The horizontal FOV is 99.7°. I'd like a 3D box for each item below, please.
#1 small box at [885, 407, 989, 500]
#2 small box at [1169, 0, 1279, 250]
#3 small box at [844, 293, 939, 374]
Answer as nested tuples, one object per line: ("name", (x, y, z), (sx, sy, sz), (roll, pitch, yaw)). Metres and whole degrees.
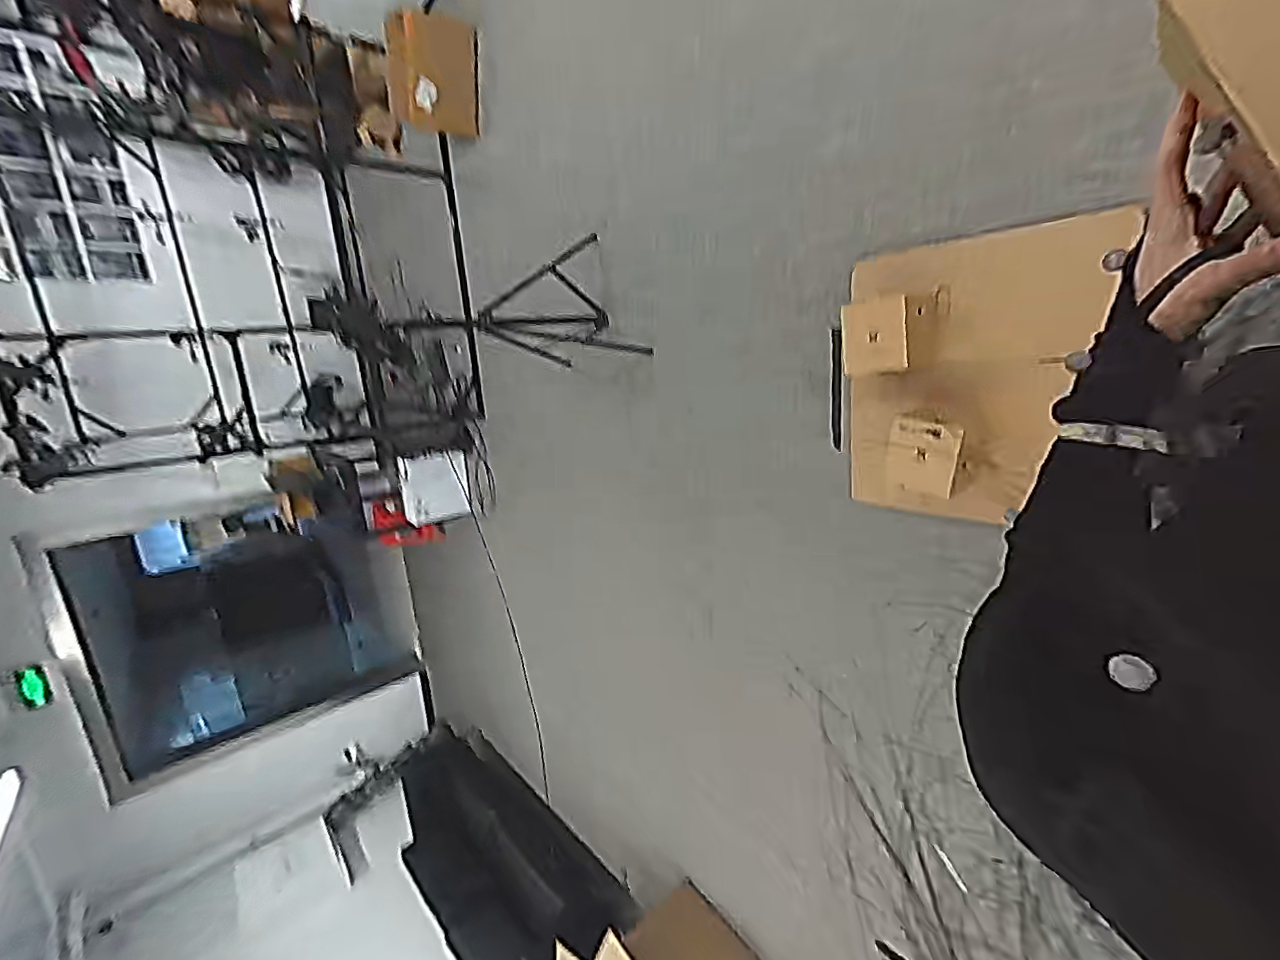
("small box", (0.747, -0.073, 1.357), (0.168, 0.176, 0.179), (22, 120, 44))
("small box", (0.390, -0.220, 0.253), (0.168, 0.176, 0.179), (-30, 86, 48))
("small box", (0.646, -0.371, 1.384), (0.168, 0.176, 0.179), (4, 105, 51))
